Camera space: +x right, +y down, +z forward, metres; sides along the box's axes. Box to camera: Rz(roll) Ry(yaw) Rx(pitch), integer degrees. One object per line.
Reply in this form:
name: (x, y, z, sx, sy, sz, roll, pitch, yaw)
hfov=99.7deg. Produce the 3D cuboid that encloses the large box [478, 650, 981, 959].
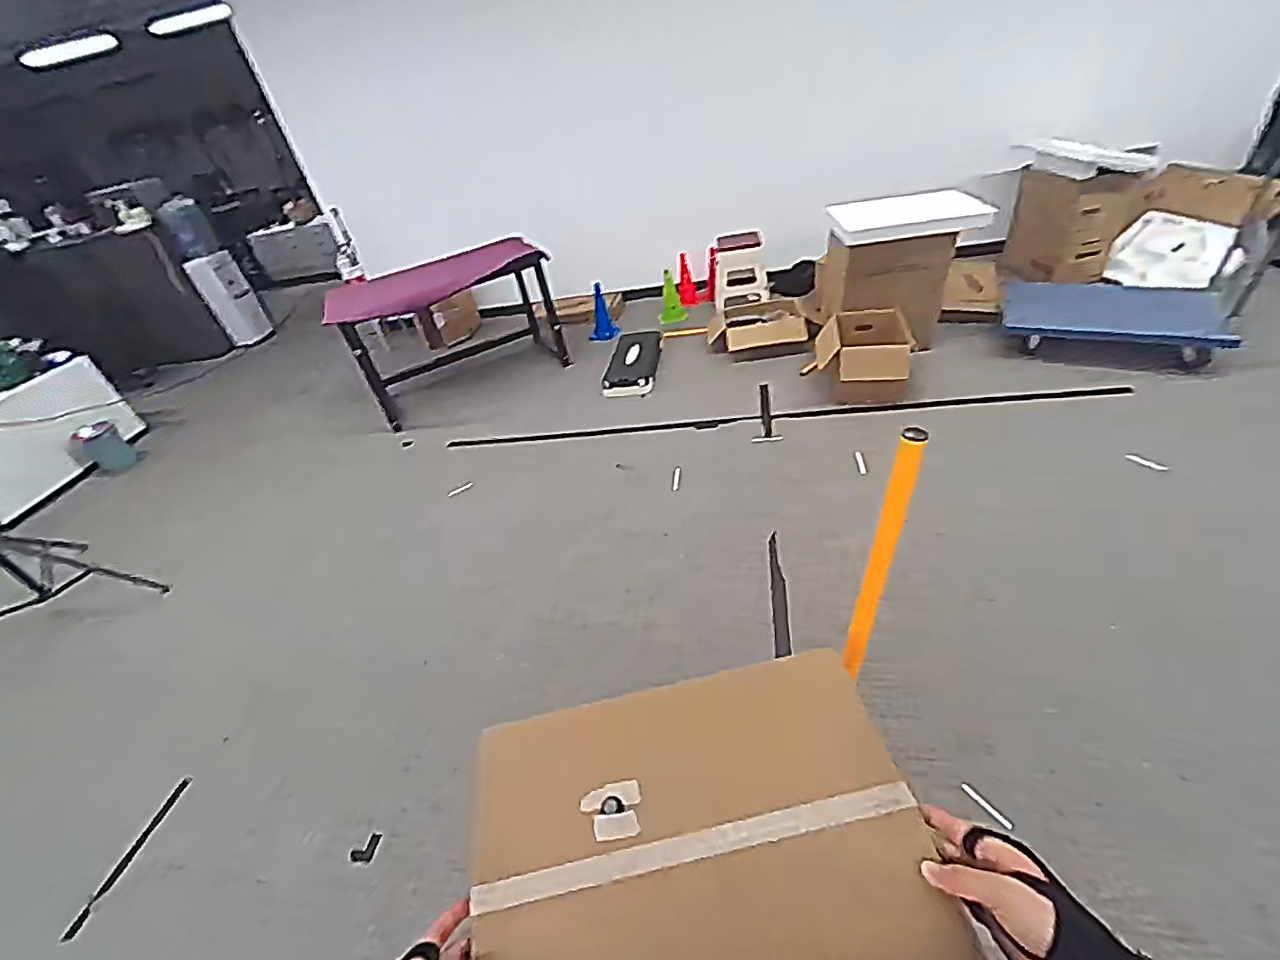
large box: (0.071, 0.447, 0.597, 0.408, 0.320, 0.320, -14, 41, -2)
